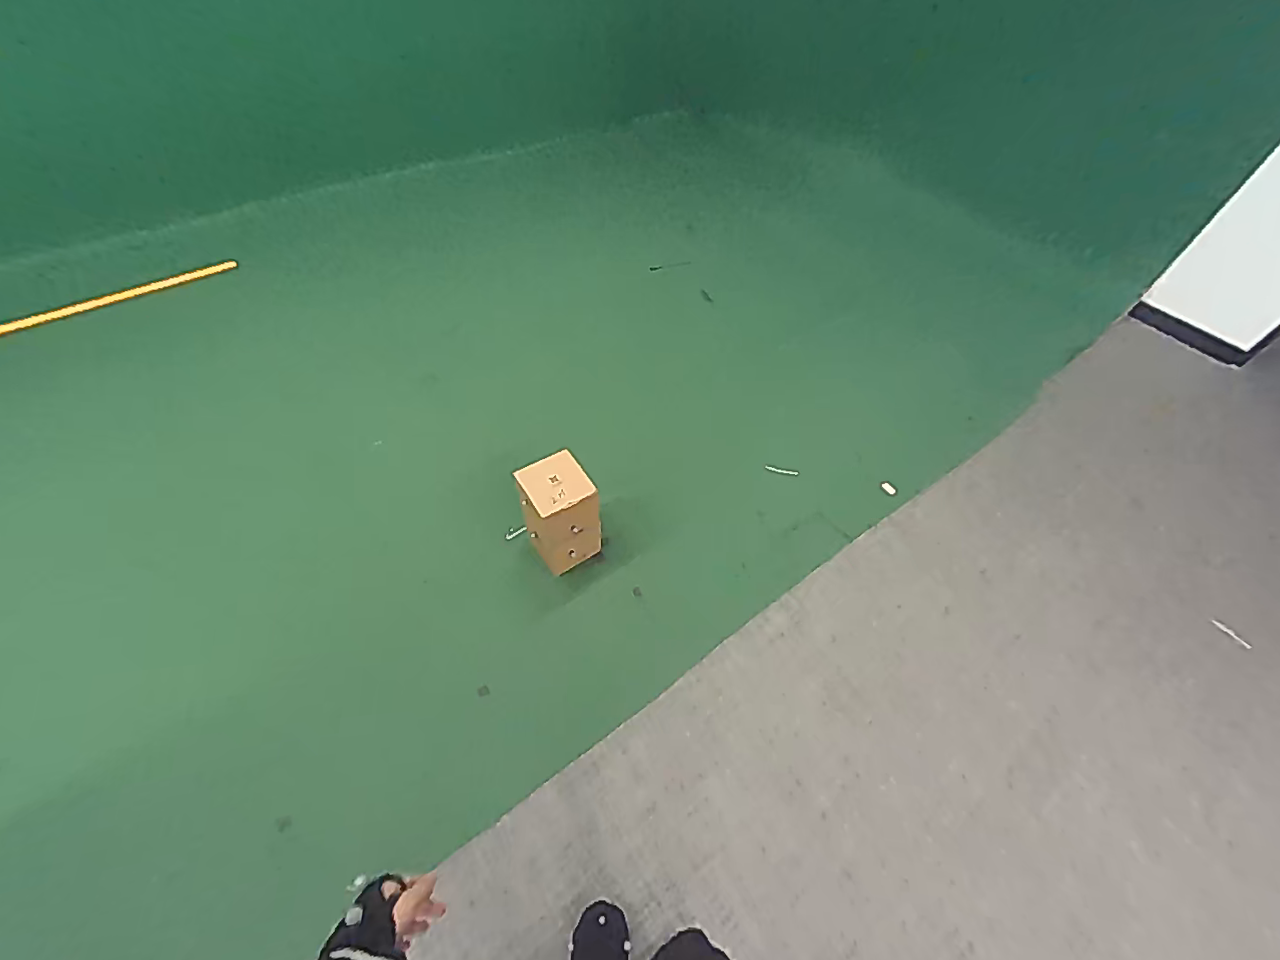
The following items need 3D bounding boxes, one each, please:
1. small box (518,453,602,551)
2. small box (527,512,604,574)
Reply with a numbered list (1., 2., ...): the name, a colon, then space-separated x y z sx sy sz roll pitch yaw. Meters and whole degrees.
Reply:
1. small box: -0.219 0.063 1.504 0.168 0.176 0.179 -28 58 -20
2. small box: -0.219 0.162 1.637 0.168 0.176 0.179 -30 58 -21
